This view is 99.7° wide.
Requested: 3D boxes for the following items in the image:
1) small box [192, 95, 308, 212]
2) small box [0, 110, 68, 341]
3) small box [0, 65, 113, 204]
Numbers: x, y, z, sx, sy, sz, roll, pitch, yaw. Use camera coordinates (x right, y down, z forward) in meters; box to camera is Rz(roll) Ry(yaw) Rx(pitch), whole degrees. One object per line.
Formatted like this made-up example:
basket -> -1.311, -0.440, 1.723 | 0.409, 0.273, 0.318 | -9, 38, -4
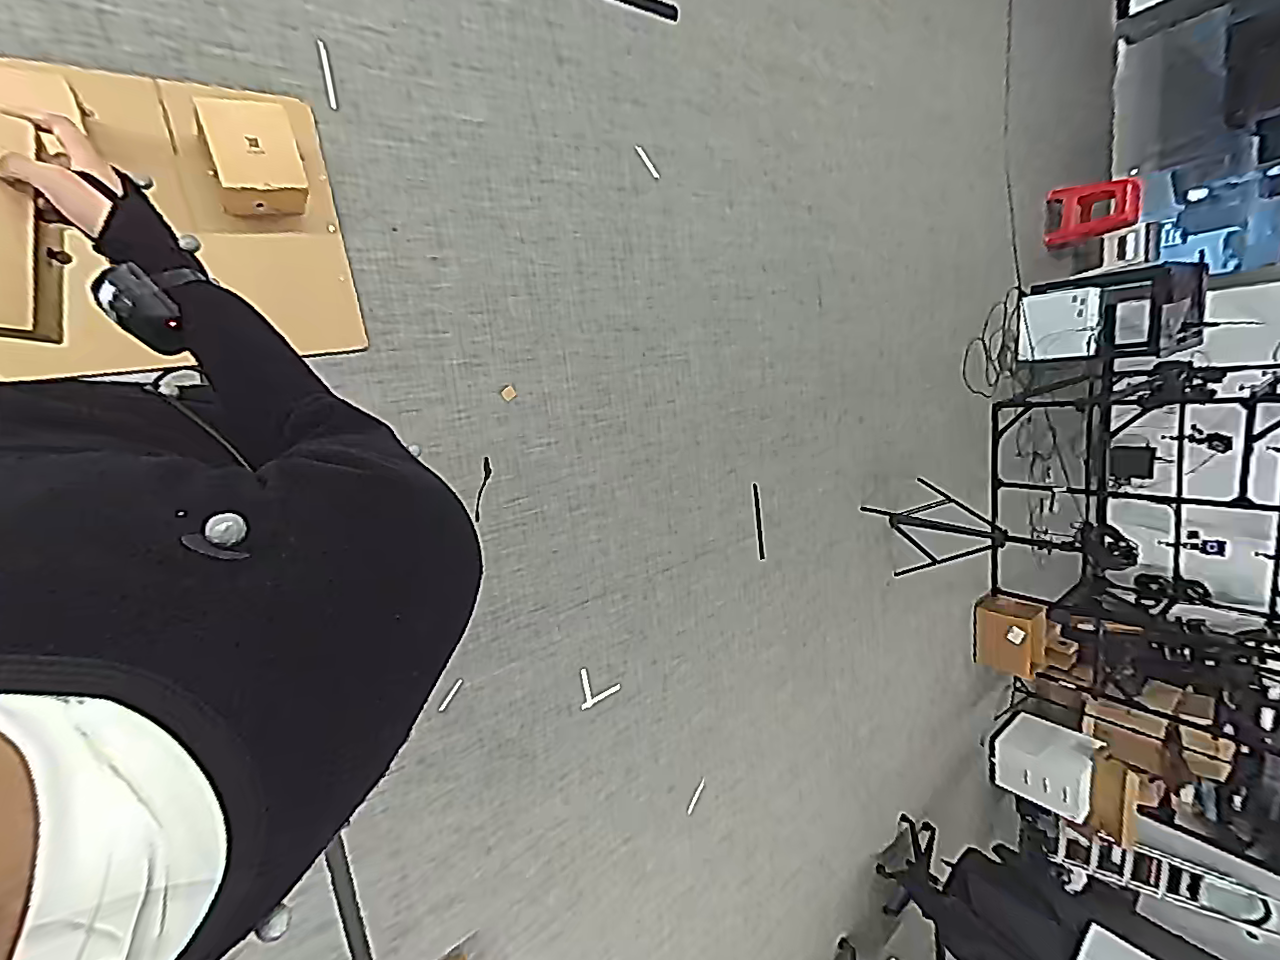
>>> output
small box -> -0.875, -0.725, 1.217 | 0.168, 0.176, 0.179 | -21, 107, -32
small box -> -0.626, -0.227, 0.466 | 0.168, 0.176, 0.179 | 2, 96, -42
small box -> -1.147, -0.646, 1.021 | 0.168, 0.176, 0.179 | -17, 105, -33
